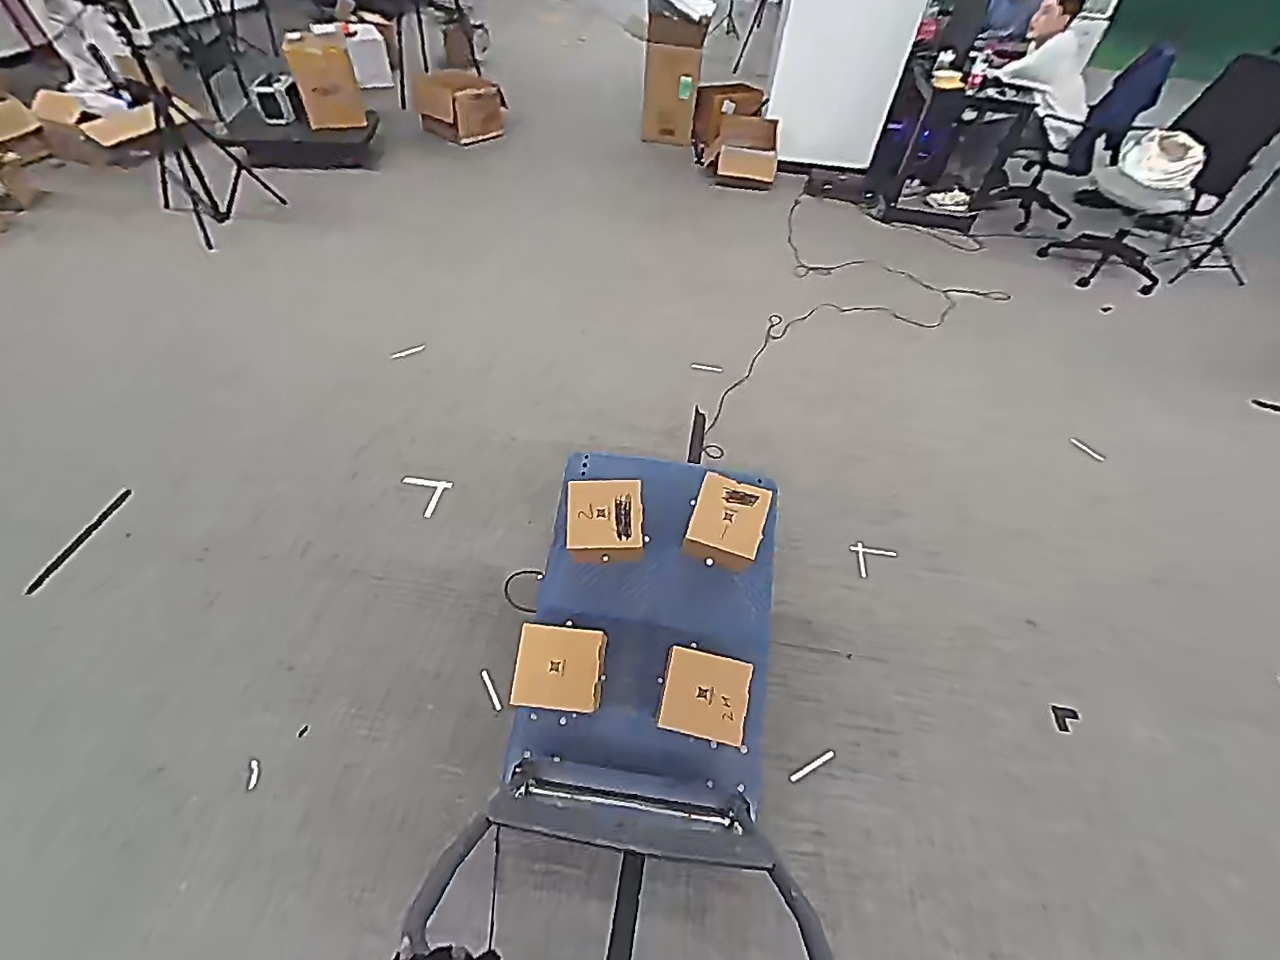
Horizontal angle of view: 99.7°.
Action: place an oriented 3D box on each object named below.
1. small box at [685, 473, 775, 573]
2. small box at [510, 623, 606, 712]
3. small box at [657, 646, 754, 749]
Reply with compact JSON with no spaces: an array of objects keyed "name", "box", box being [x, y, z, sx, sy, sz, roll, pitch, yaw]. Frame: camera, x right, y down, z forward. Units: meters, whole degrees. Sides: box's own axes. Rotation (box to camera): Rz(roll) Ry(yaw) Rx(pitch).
[{"name":"small box","box":[0.213,0.112,1.331,0.168,0.176,0.179,19,72,6]},{"name":"small box","box":[-0.174,0.422,1.212,0.179,0.176,0.168,6,69,1]},{"name":"small box","box":[0.138,0.477,1.194,0.179,0.176,0.168,13,70,5]}]
